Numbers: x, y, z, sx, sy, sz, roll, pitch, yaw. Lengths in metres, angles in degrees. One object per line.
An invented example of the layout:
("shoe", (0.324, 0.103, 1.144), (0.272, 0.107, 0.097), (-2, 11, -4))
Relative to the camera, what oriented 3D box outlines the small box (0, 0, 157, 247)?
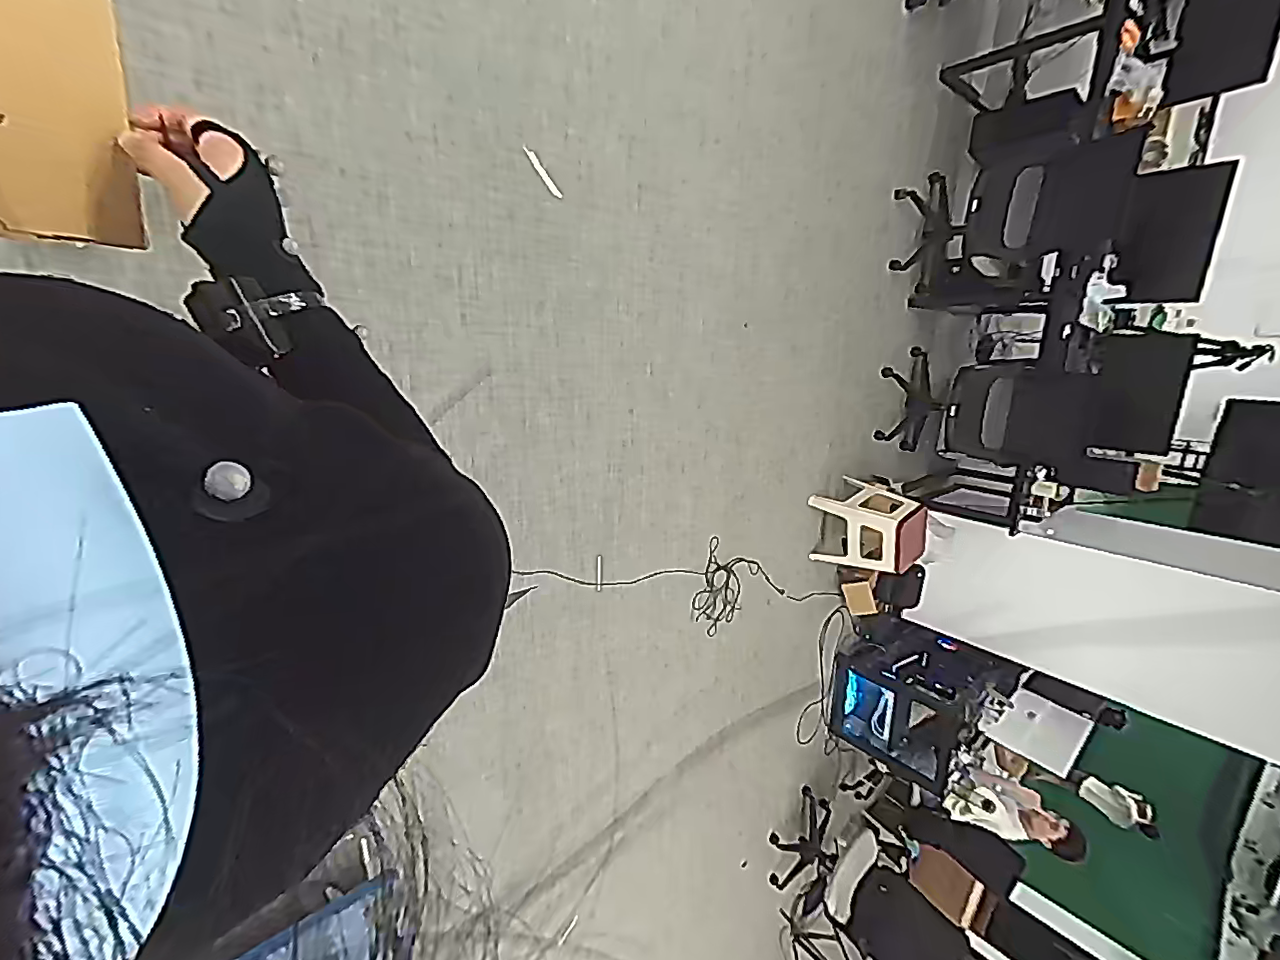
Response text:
("small box", (-0.481, -0.286, 0.398), (0.168, 0.176, 0.179), (-9, 120, -41))
